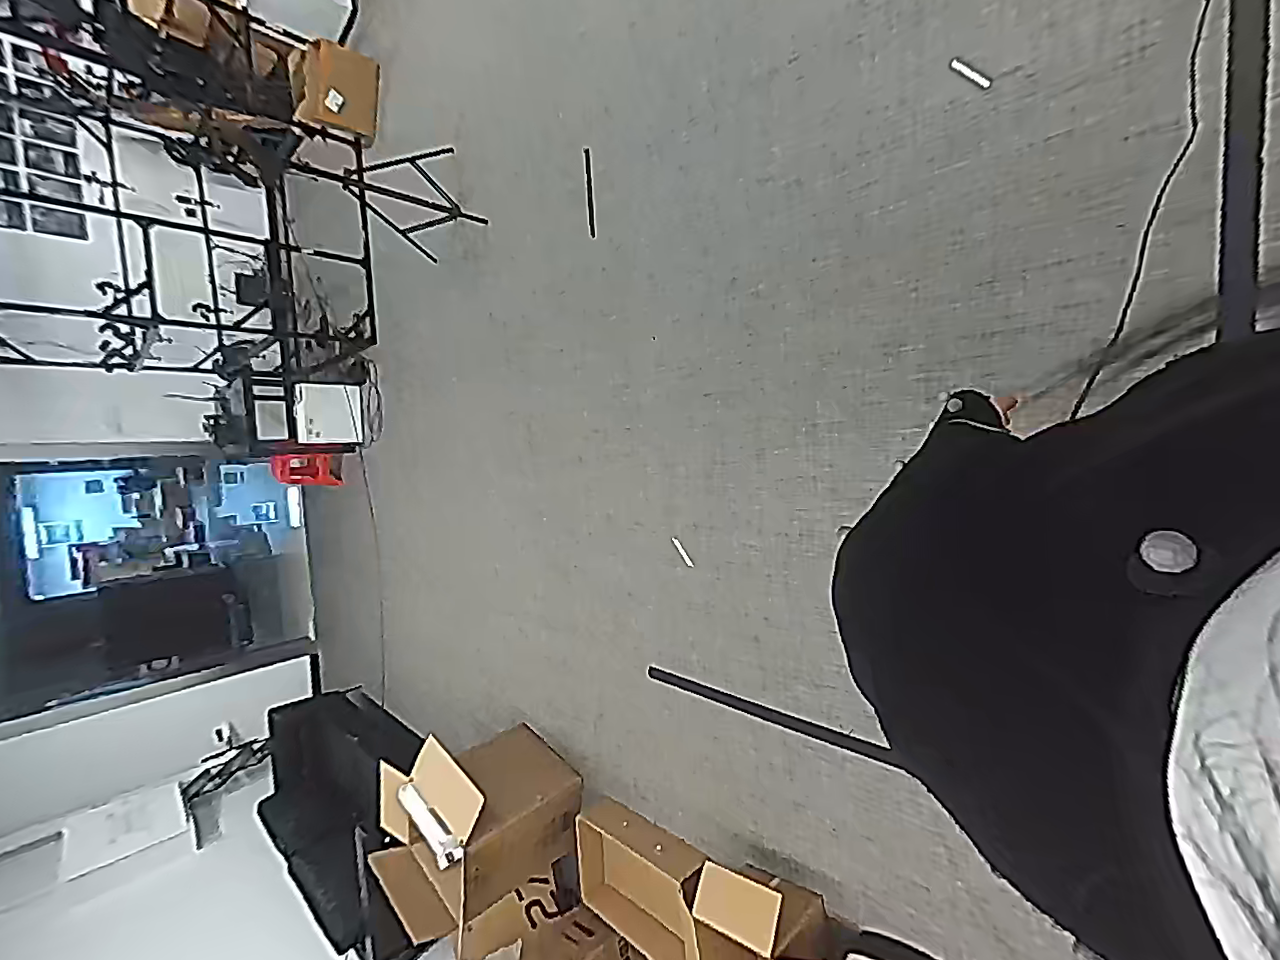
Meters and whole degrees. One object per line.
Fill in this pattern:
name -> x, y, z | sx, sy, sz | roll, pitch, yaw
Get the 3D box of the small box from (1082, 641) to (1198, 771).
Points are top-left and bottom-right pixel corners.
small box -> 1.018, 0.446, 1.103 | 0.168, 0.176, 0.179 | 1, 94, 45
